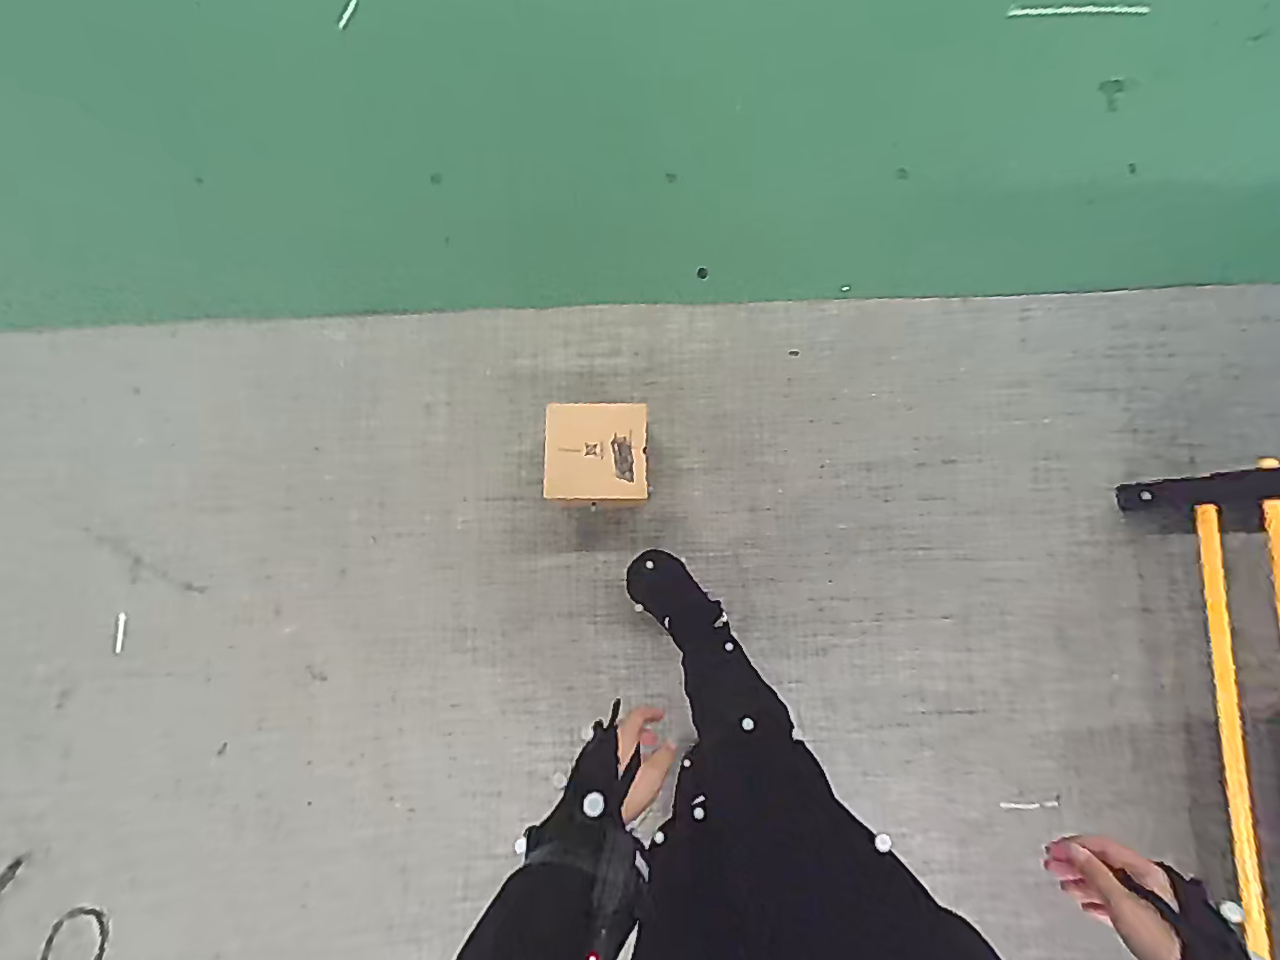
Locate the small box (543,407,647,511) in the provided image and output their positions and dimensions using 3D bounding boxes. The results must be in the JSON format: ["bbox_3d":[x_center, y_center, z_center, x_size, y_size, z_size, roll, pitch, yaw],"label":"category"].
[{"bbox_3d":[-0.076,-0.032,0.997,0.179,0.176,0.168,0,82,0],"label":"small box"}]
